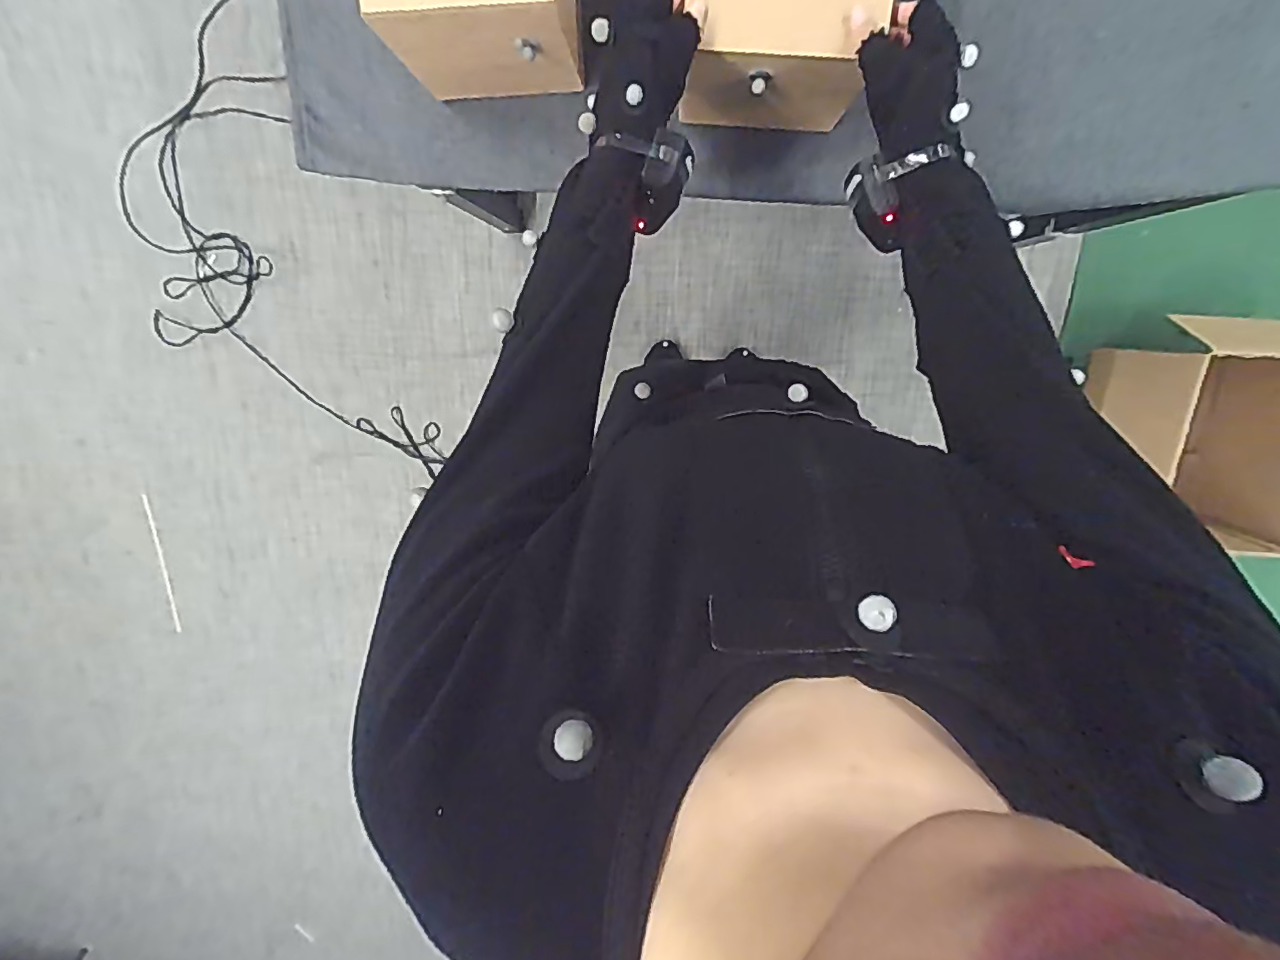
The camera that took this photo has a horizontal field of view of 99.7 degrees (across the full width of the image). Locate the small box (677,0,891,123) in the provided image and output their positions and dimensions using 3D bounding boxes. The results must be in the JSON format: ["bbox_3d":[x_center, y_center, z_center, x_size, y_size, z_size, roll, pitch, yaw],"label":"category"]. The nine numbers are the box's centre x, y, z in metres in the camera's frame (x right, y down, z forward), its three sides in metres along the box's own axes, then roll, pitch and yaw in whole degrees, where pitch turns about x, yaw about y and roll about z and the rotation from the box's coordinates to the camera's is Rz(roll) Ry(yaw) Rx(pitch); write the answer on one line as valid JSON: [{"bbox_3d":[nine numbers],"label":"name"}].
[{"bbox_3d":[0.129,-0.464,0.514,0.179,0.176,0.168,5,106,2],"label":"small box"}]
